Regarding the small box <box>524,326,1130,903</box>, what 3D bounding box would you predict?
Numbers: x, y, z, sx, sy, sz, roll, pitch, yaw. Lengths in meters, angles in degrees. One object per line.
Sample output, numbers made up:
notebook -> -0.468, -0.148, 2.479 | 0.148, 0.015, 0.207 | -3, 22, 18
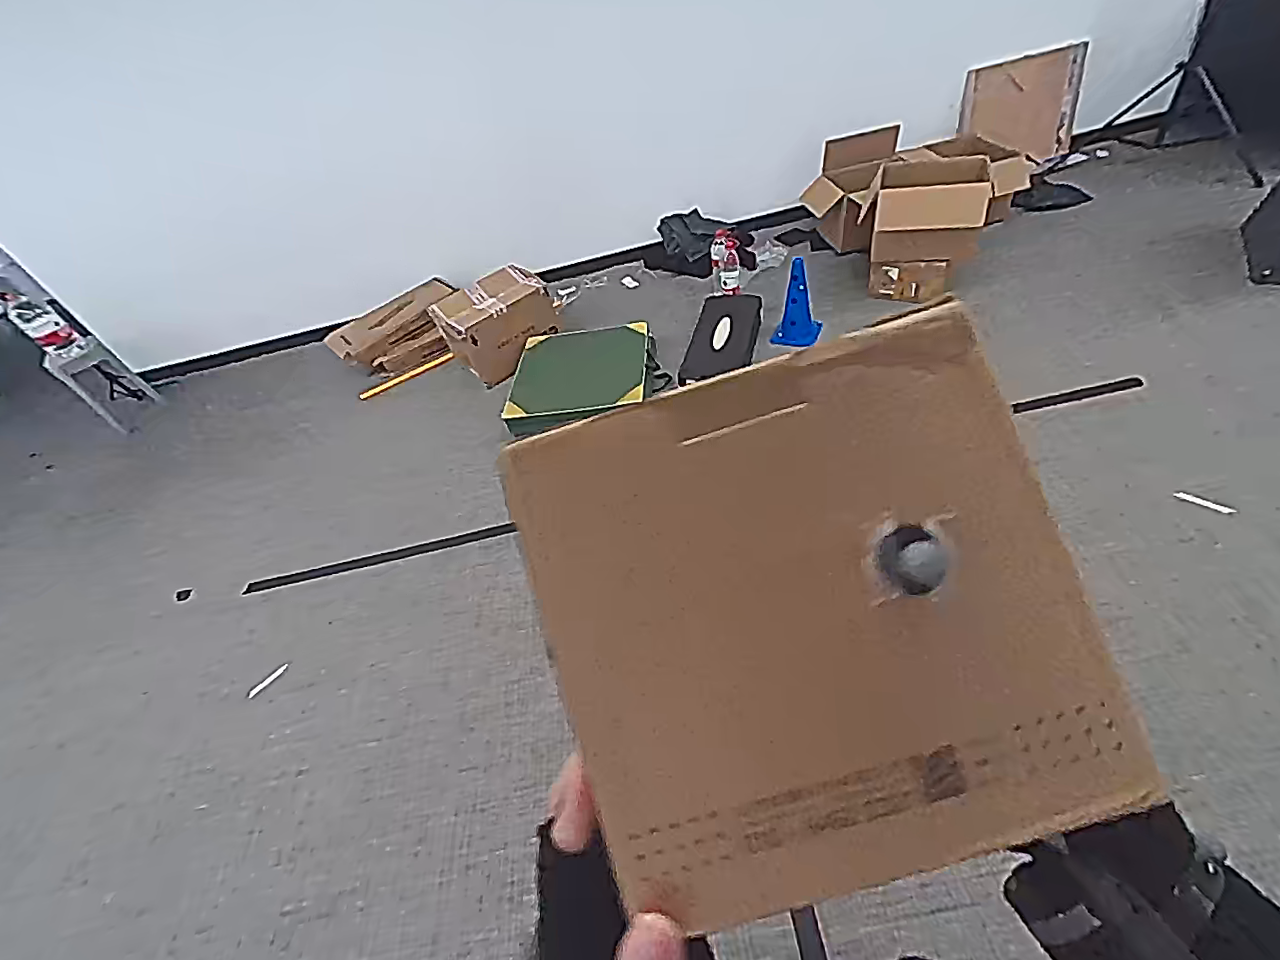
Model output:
small box -> 0.065, 0.058, 0.259 | 0.168, 0.179, 0.176 | -17, 83, 1
